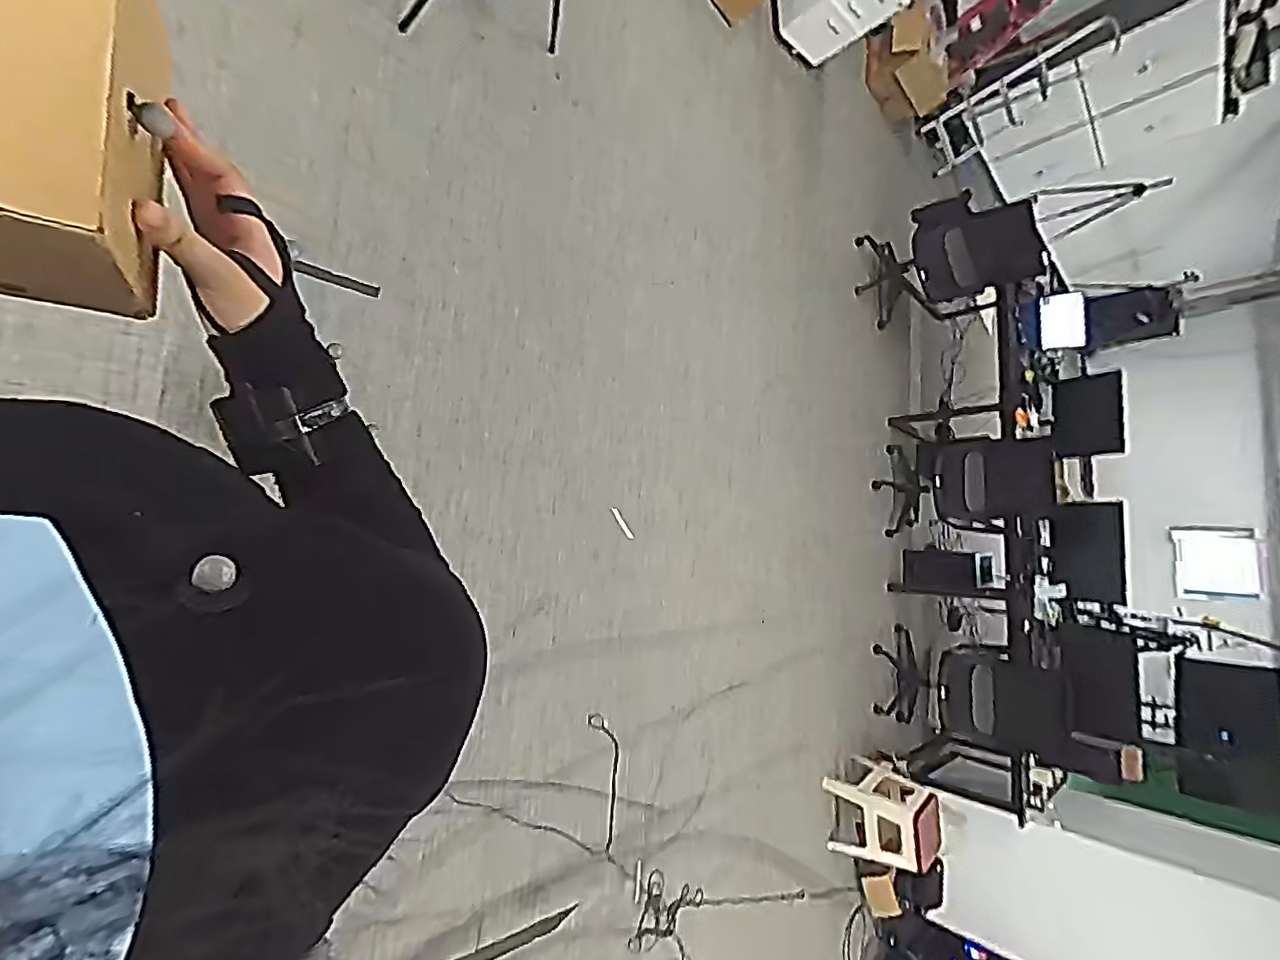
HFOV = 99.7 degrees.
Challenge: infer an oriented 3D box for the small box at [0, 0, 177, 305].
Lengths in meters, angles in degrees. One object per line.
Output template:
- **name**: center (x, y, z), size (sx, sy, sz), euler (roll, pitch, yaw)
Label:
- **small box**: center (-0.343, -0.207, 0.264), size (0.168, 0.176, 0.179), euler (3, 90, -37)

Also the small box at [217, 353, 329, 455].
- **small box**: center (-0.836, -0.161, 1.228), size (0.168, 0.176, 0.179), euler (17, 75, -42)
